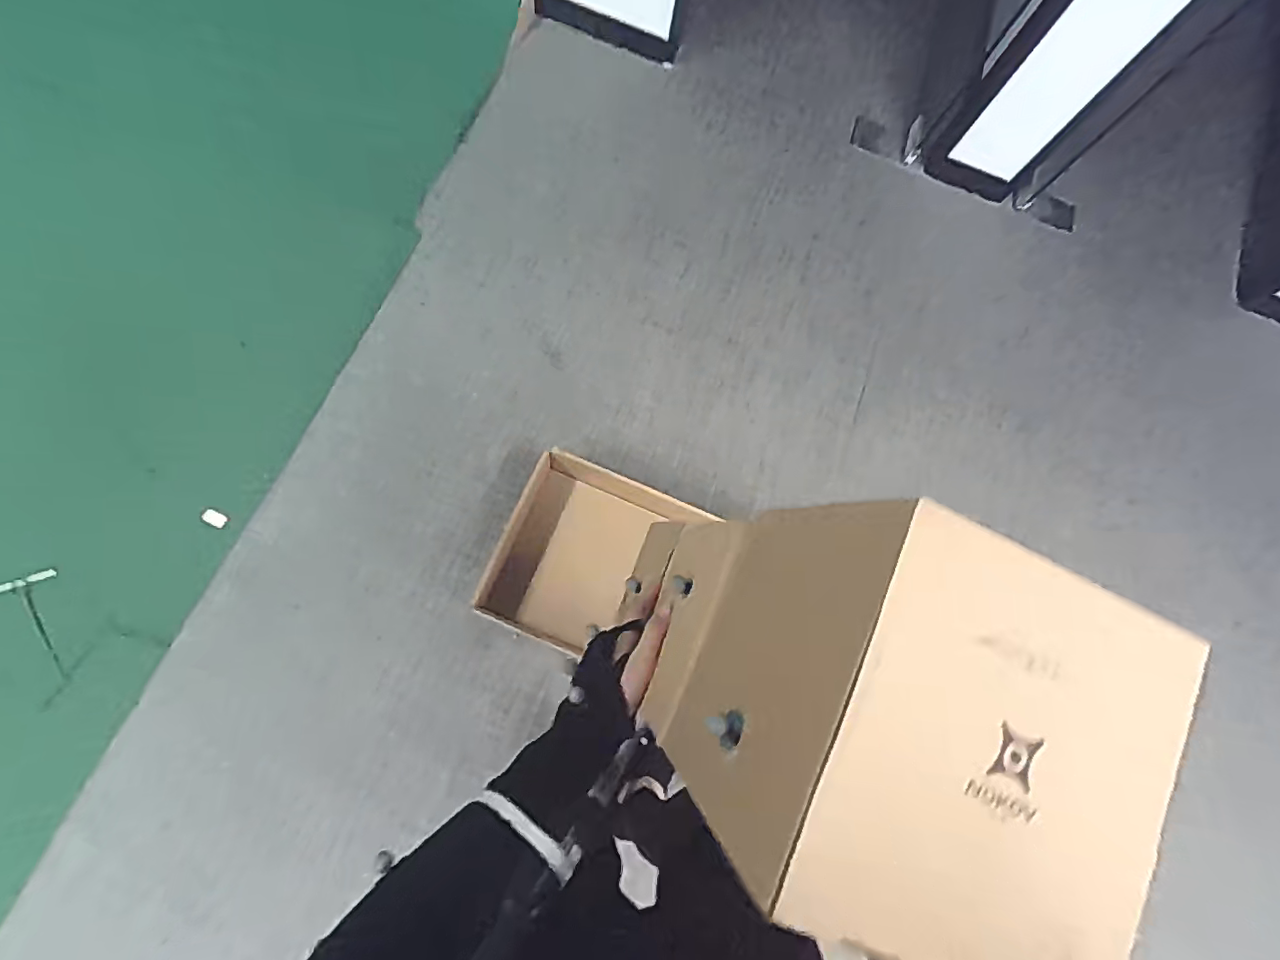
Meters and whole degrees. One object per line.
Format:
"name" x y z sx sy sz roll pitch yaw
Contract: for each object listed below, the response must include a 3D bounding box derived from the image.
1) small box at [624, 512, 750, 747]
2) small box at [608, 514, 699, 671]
"small box" 0.099 0.138 0.456 0.179 0.176 0.168 23 81 -7
"small box" 0.074 0.148 0.618 0.179 0.176 0.168 22 83 -7
